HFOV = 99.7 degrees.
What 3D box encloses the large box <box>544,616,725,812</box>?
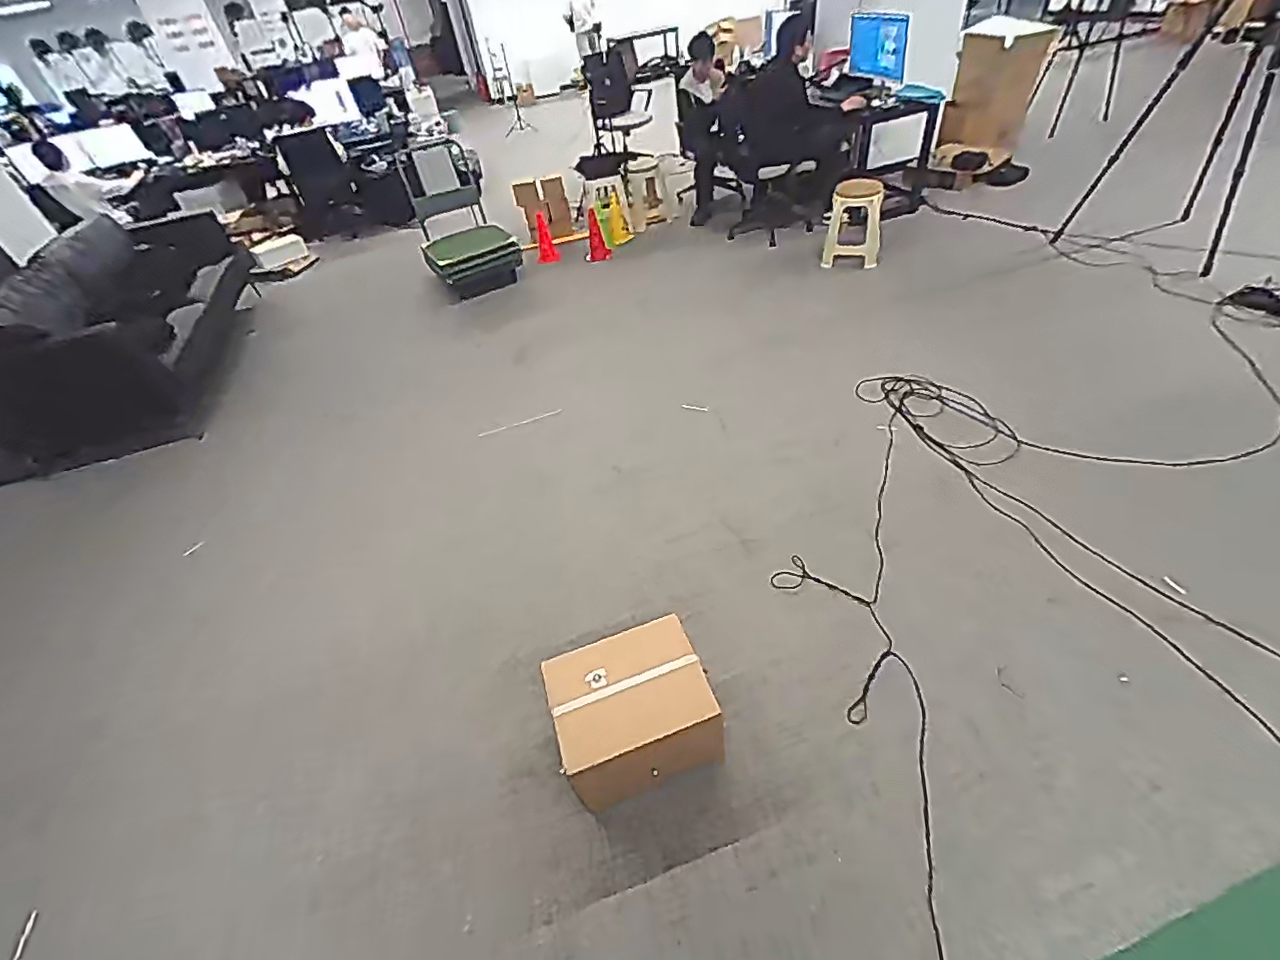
[{"bbox_3d":[-0.009,0.655,1.520,0.408,0.320,0.320,-20,43,-9],"label":"large box"}]
